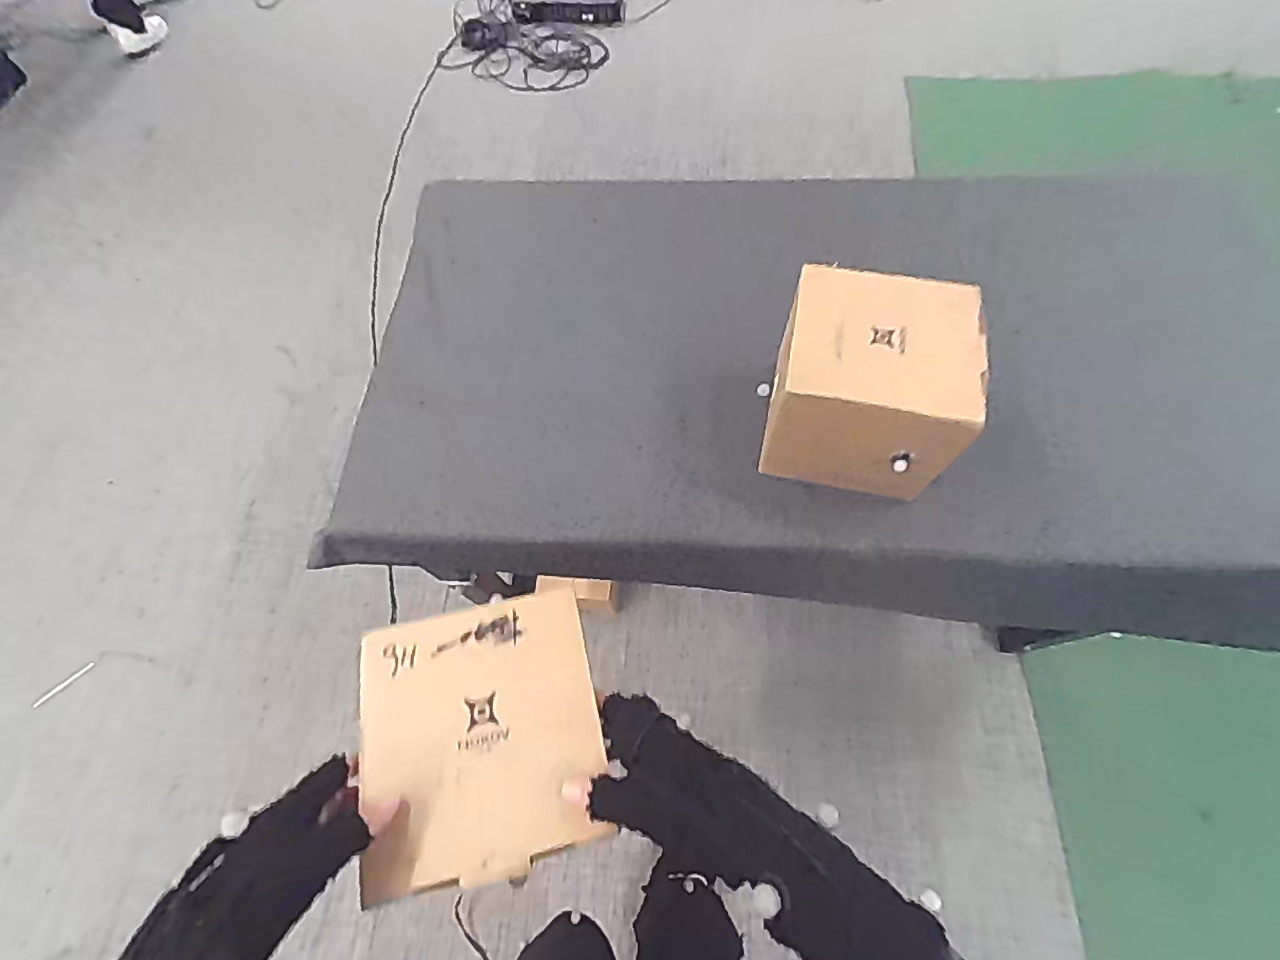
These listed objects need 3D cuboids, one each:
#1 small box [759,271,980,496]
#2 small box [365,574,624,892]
[{"bbox_3d":[0.239,-0.097,0.594,0.179,0.176,0.168,10,64,8],"label":"small box"},{"bbox_3d":[-0.110,0.202,0.448,0.168,0.176,0.179,-11,61,-10],"label":"small box"}]
